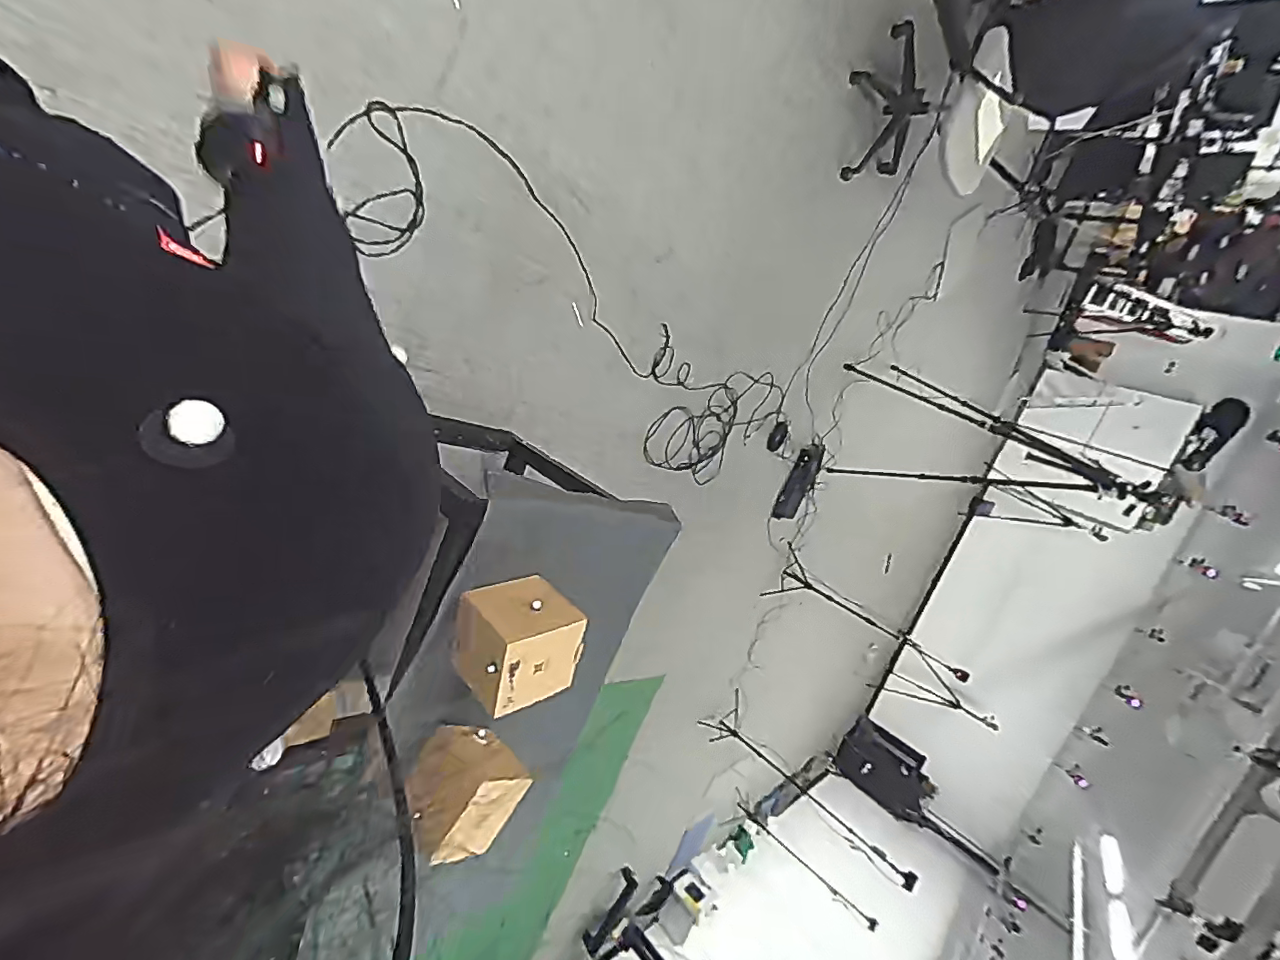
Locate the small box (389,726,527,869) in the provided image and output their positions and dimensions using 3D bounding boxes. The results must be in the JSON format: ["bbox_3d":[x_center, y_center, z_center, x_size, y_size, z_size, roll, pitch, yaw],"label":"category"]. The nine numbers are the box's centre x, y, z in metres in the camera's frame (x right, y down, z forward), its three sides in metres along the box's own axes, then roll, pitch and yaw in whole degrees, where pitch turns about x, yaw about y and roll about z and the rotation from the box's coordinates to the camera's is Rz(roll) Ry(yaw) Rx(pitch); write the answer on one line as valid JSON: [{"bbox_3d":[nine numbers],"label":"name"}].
[{"bbox_3d":[-0.371,0.629,1.088,0.179,0.176,0.168,-57,146,-8],"label":"small box"}]

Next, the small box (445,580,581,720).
[{"bbox_3d":[-0.244,0.310,1.031,0.179,0.176,0.168,-6,117,-47],"label":"small box"}]

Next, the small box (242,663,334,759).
[{"bbox_3d":[-1.019,0.656,1.558,0.179,0.176,0.168,4,110,-50],"label":"small box"}]
